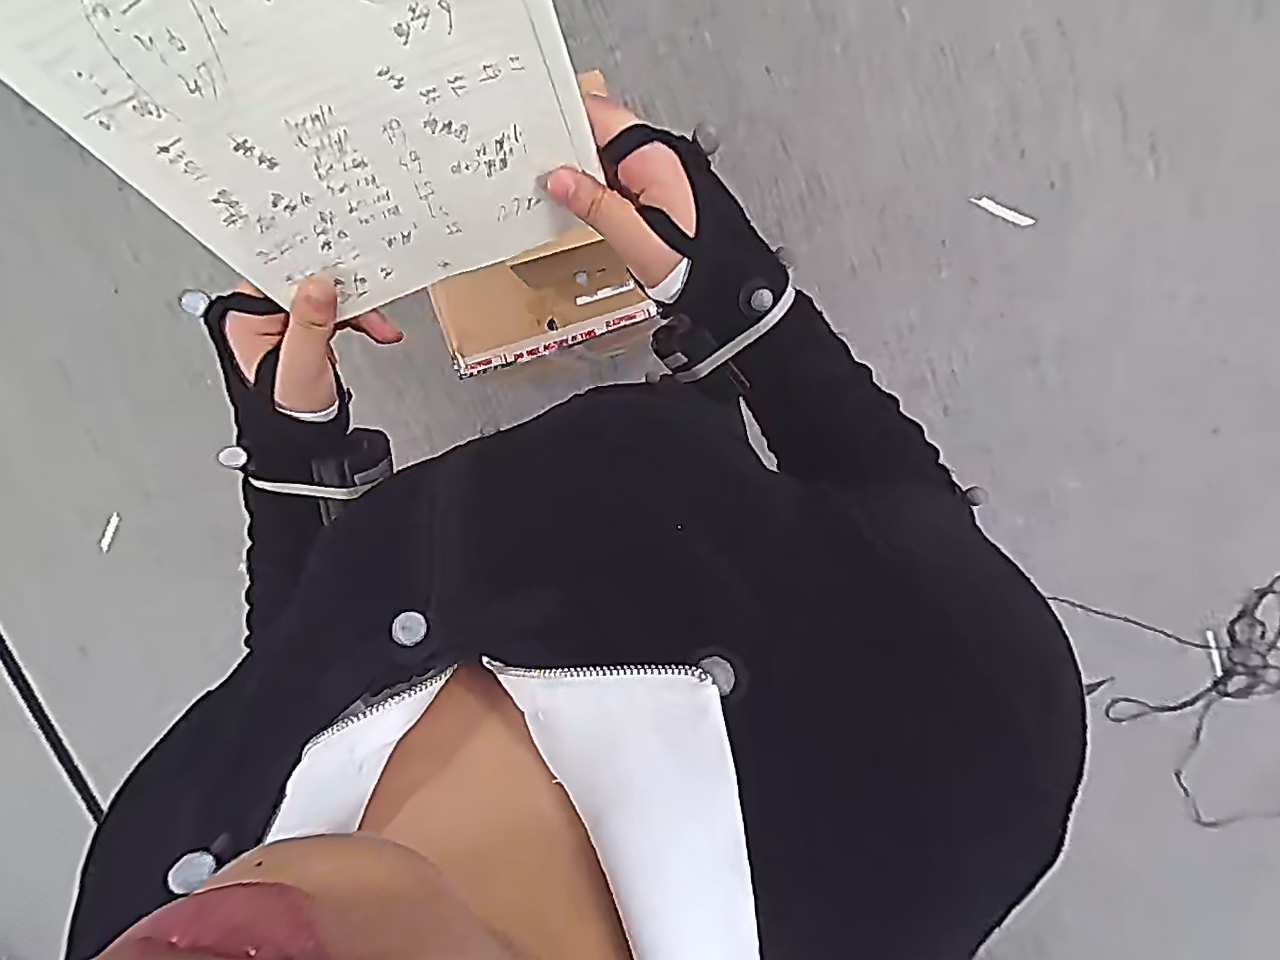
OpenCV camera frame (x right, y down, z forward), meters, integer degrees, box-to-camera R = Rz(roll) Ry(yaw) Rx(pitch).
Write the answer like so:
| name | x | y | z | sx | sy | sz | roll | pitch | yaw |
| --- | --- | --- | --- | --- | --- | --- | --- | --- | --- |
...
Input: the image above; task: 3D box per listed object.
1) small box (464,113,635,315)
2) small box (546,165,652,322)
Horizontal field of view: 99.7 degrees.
| name | x | y | z | sx | sy | sz | roll | pitch | yaw |
| --- | --- | --- | --- | --- | --- | --- | --- | --- | --- |
| small box | -0.107 | -0.333 | 0.713 | 0.168 | 0.176 | 0.179 | -15 | 100 | 2 |
| small box | -0.089 | -0.368 | 0.873 | 0.179 | 0.176 | 0.168 | -18 | 99 | 4 |
